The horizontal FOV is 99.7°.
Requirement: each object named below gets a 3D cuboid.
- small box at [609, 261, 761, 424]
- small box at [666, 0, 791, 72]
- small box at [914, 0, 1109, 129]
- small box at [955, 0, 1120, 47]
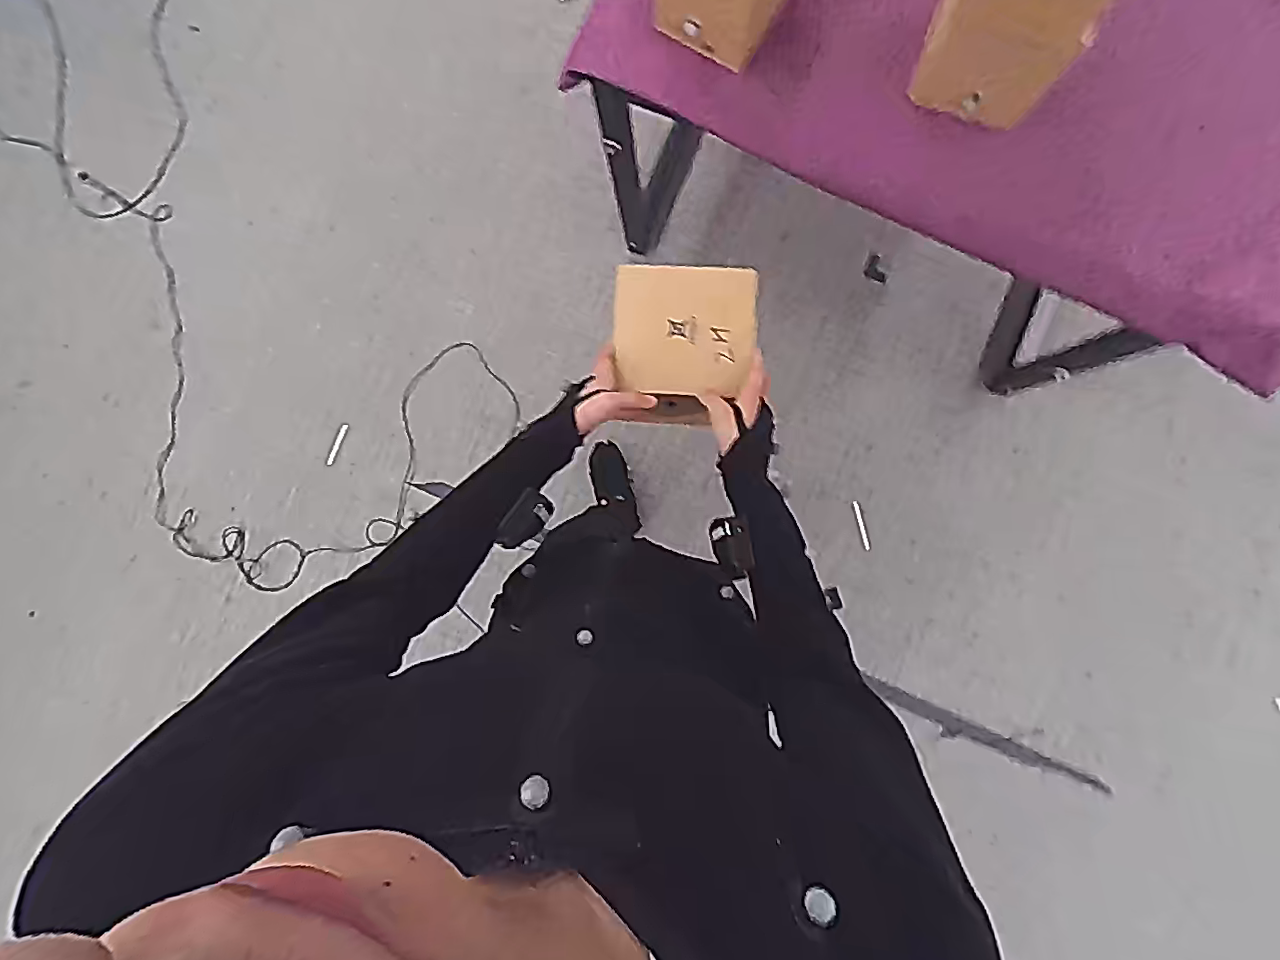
[{"bbox_3d":[0.059,-0.177,0.740,0.179,0.176,0.168,5,84,2],"label":"small box"},{"bbox_3d":[0.146,-0.788,0.821,0.168,0.176,0.179,33,92,4],"label":"small box"},{"bbox_3d":[0.543,-0.657,0.788,0.179,0.176,0.168,20,89,4],"label":"small box"},{"bbox_3d":[0.509,-0.659,0.627,0.179,0.176,0.168,21,90,4],"label":"small box"}]
